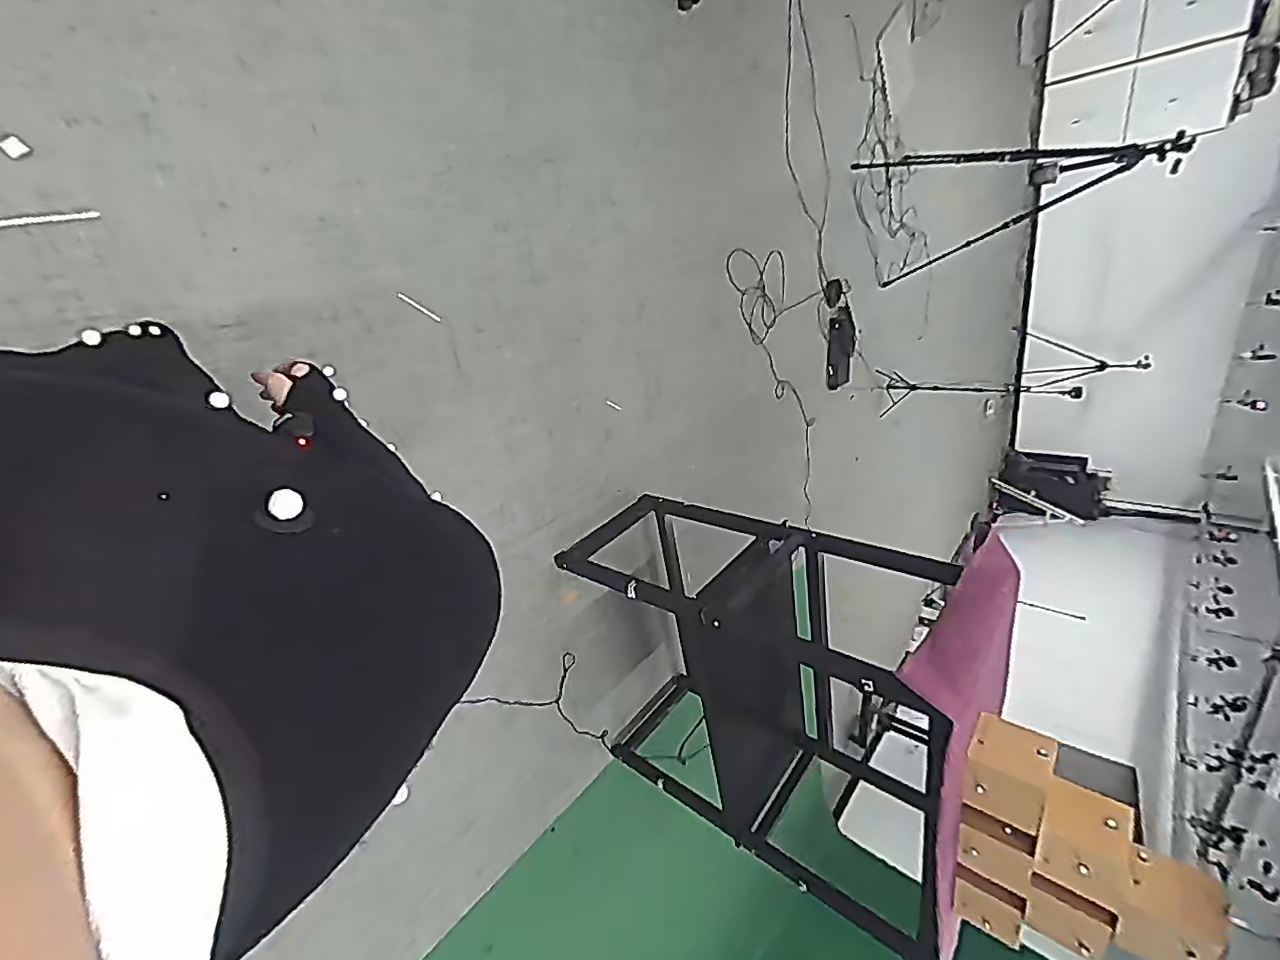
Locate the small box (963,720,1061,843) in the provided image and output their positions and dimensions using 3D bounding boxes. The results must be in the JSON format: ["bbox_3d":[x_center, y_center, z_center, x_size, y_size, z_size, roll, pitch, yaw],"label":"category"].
[{"bbox_3d":[0.933,0.750,1.364,0.168,0.176,0.179,-32,122,-39],"label":"small box"}]

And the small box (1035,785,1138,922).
[{"bbox_3d":[1.075,0.891,1.306,0.179,0.176,0.168,-31,119,-40],"label":"small box"}]

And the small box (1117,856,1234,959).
[{"bbox_3d":[1.217,1.014,1.241,0.168,0.176,0.179,-33,121,-39],"label":"small box"}]

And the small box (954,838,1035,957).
[{"bbox_3d":[1.028,1.201,1.568,0.179,0.176,0.168,-29,119,-42],"label":"small box"}]

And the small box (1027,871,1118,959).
[{"bbox_3d":[1.120,1.103,1.399,0.168,0.176,0.179,-32,120,-40],"label":"small box"}]
